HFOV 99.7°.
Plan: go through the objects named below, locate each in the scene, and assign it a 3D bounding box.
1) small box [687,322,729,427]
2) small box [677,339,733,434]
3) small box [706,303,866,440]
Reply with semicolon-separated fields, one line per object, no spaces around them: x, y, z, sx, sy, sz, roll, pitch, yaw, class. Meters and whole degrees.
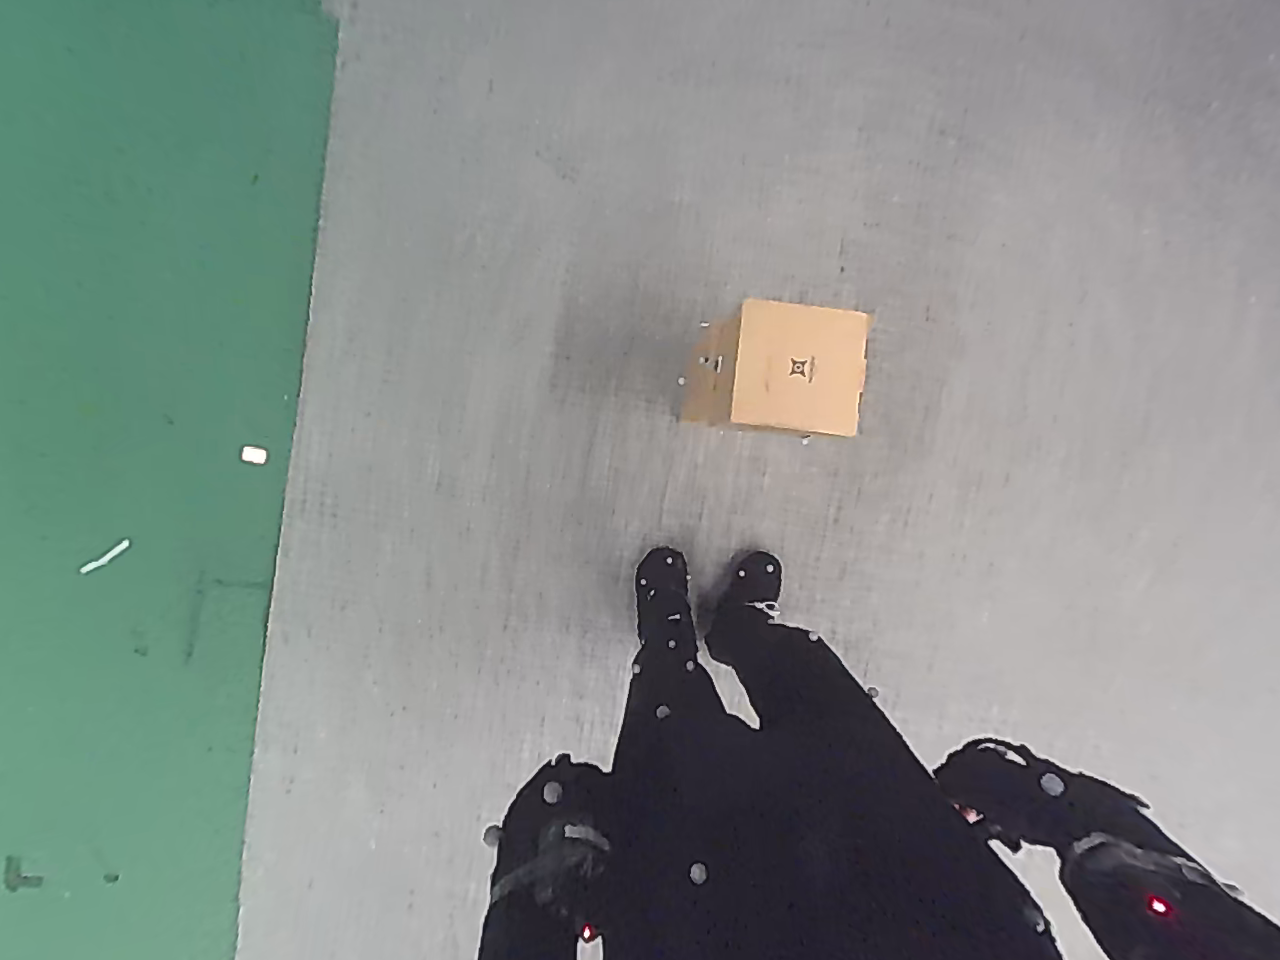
0.189;-0.173;0.960;0.179;0.176;0.168;5;93;-4;small box
0.182;-0.186;1.122;0.179;0.176;0.168;7;93;-3;small box
0.204;-0.149;0.799;0.179;0.176;0.168;5;92;-3;small box
